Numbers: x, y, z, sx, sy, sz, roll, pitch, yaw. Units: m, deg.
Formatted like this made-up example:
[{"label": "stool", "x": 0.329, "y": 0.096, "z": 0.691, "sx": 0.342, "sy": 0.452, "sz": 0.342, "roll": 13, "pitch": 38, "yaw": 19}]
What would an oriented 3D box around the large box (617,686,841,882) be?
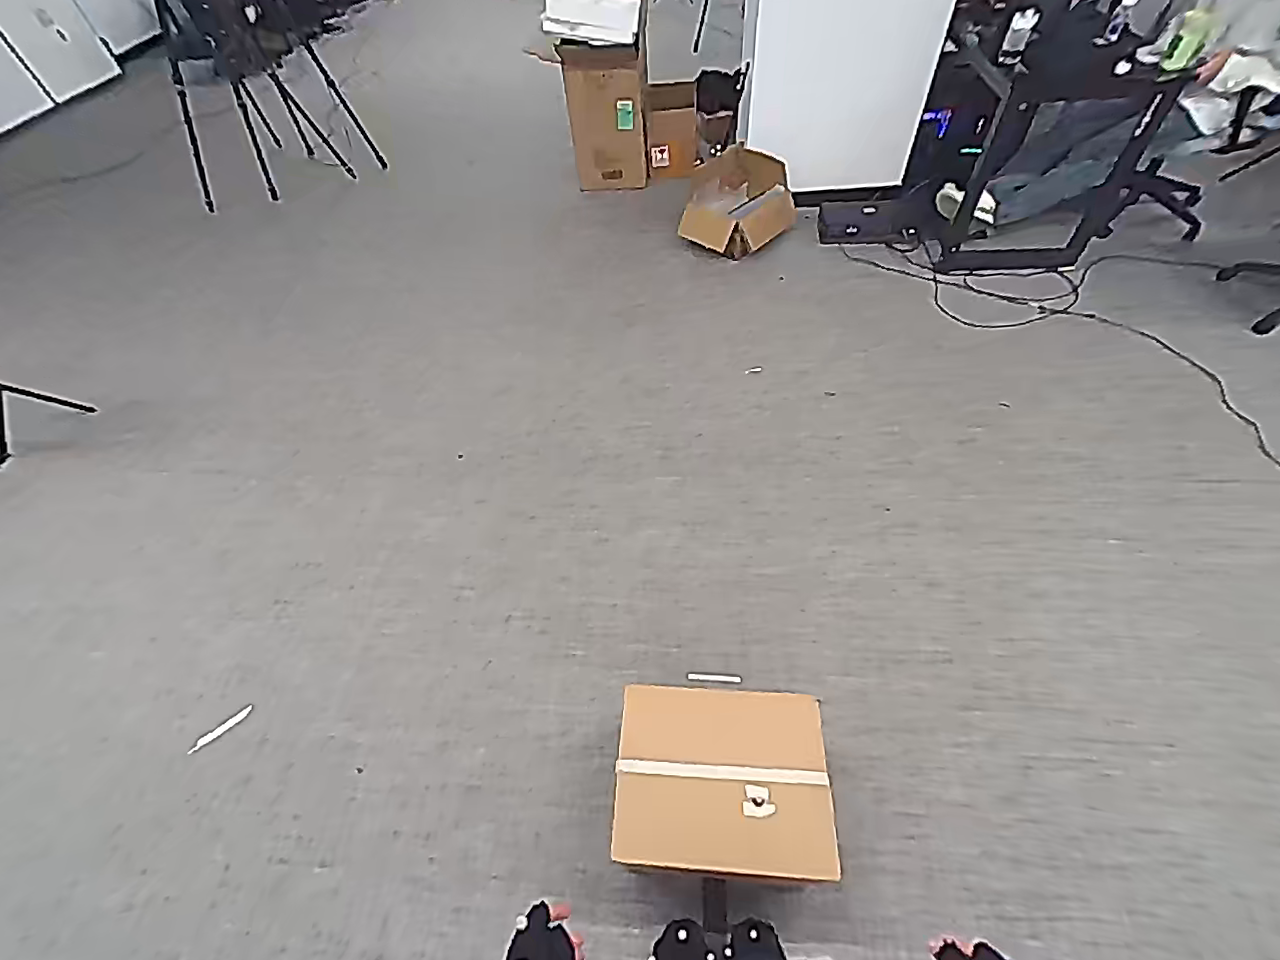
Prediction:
[{"label": "large box", "x": 0.168, "y": 0.654, "z": 1.158, "sx": 0.408, "sy": 0.320, "sz": 0.320, "roll": 1, "pitch": 53, "yaw": 5}]
